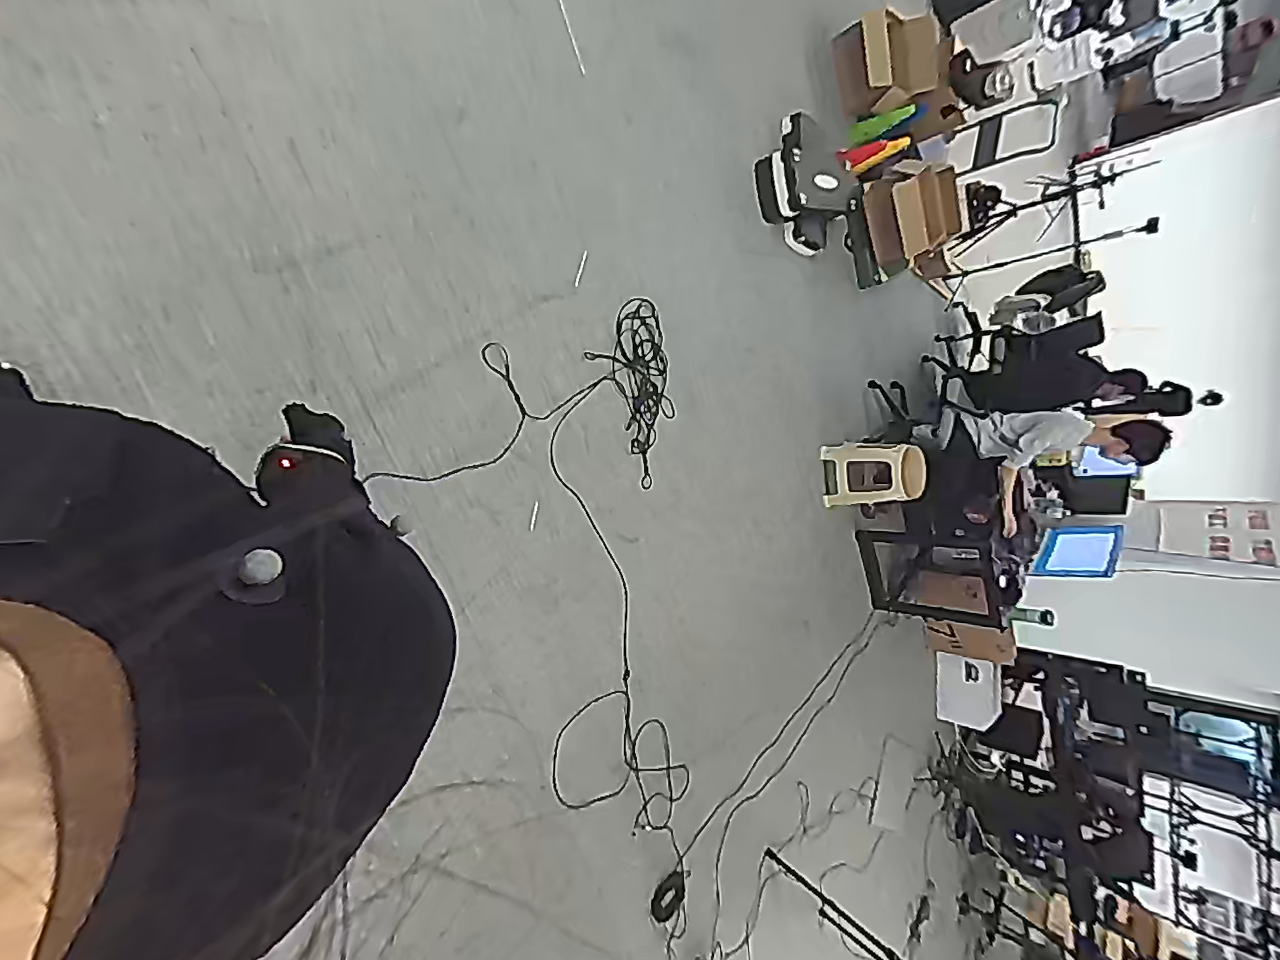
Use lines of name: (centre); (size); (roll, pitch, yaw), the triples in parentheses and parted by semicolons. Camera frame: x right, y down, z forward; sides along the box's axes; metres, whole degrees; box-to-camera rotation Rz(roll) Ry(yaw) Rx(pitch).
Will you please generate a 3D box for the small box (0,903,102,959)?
small box: (-1.082, 0.889, 0.937); (0.168, 0.176, 0.179); (-31, 111, -40)
